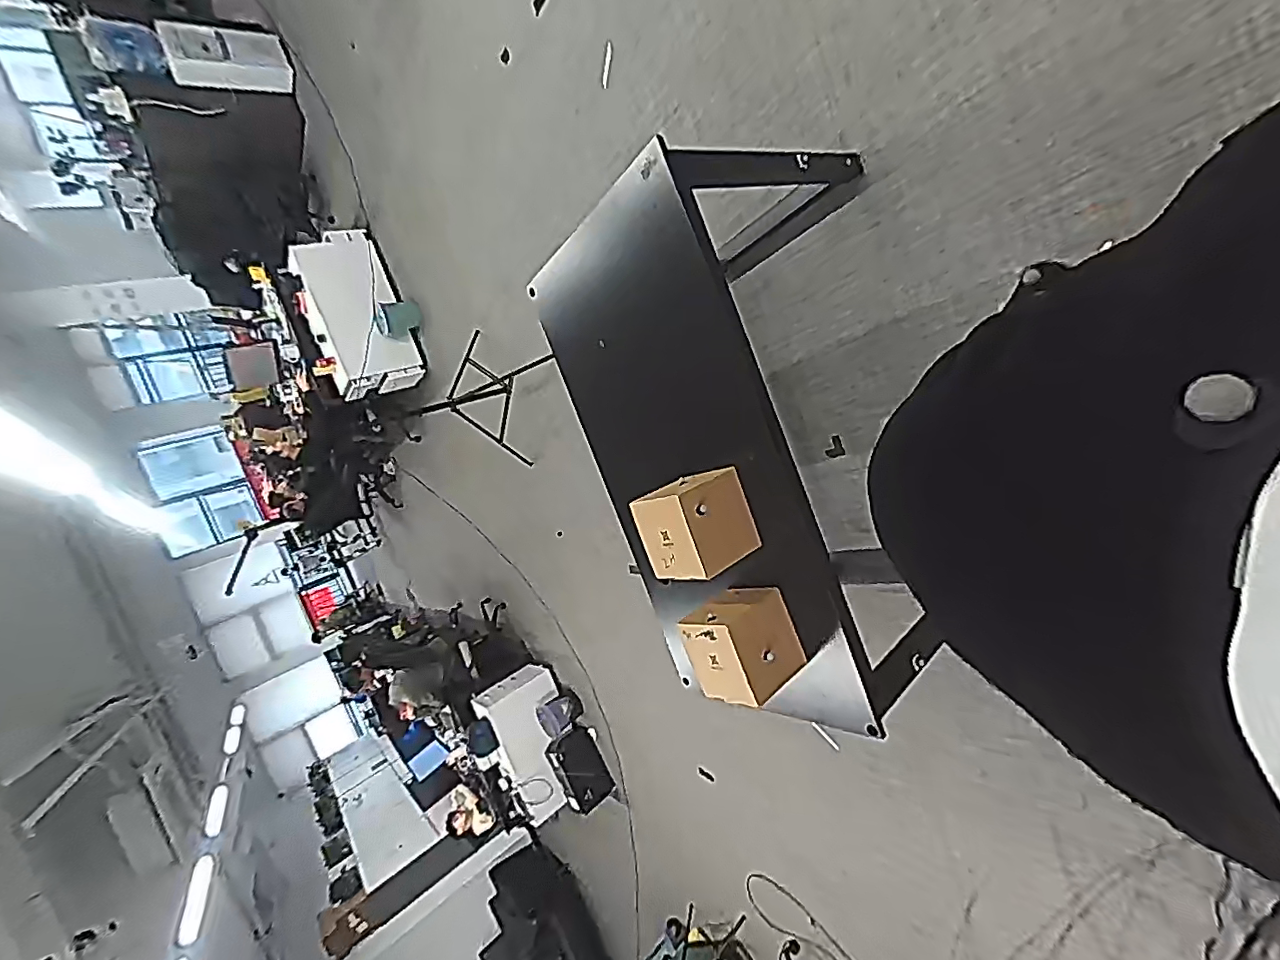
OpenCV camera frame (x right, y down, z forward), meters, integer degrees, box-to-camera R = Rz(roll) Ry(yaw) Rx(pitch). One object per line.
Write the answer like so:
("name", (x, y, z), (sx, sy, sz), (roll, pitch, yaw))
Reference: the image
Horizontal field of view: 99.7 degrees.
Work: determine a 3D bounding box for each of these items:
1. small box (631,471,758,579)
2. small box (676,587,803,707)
("small box", (0.115, 0.089, 1.126), (0.168, 0.176, 0.179), (-13, 99, 55))
("small box", (0.214, 0.344, 1.144), (0.168, 0.176, 0.179), (-19, 94, 55))
